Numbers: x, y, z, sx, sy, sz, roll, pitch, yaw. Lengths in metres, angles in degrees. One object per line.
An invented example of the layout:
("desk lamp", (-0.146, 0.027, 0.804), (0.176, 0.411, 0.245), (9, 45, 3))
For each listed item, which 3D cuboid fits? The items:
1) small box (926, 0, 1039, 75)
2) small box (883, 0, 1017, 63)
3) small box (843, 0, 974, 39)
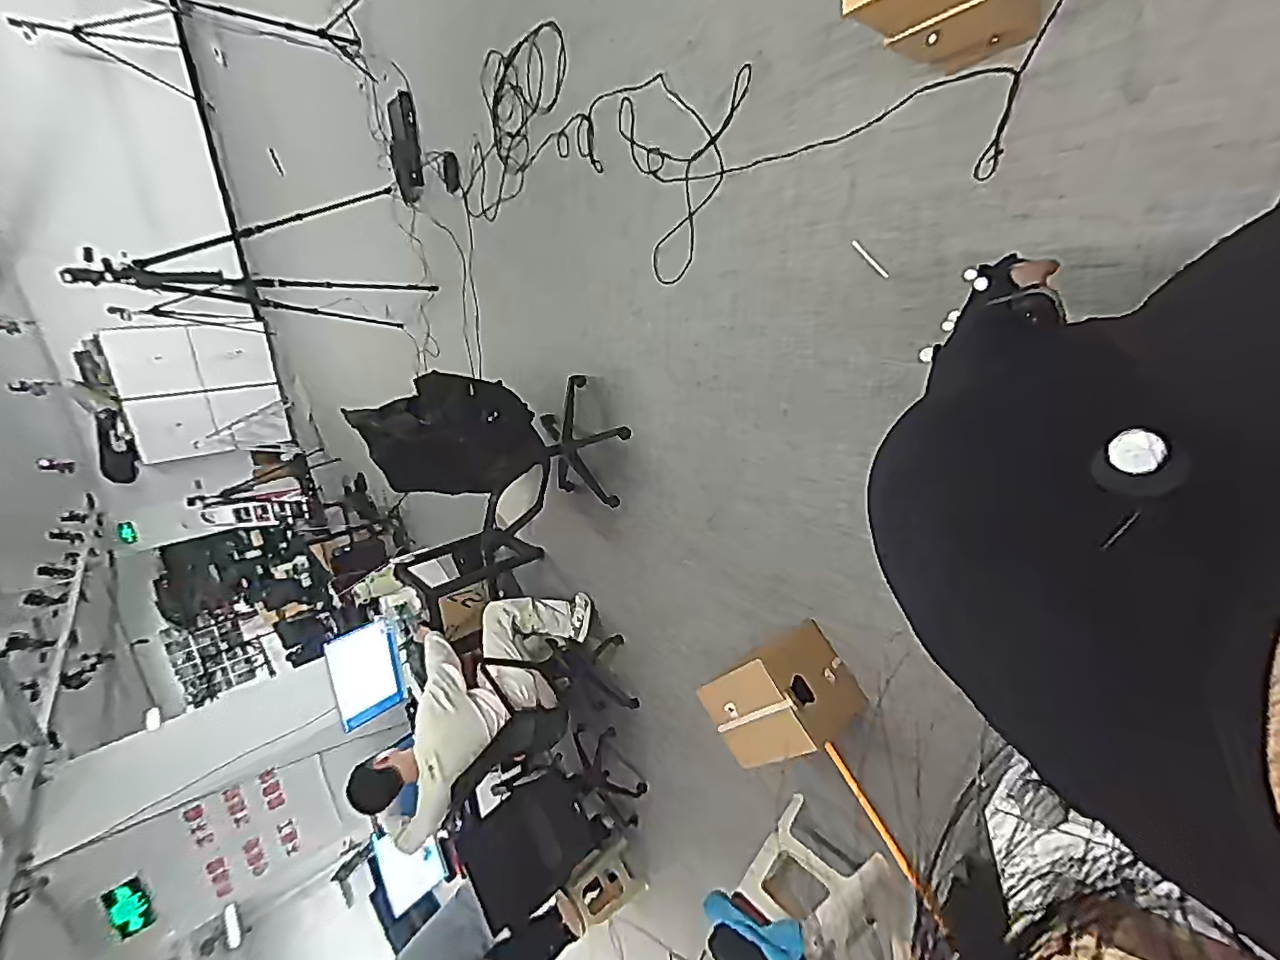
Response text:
("small box", (0.690, -0.967, 1.096), (0.179, 0.176, 0.168), (7, 109, 49))
("small box", (0.573, -0.909, 0.995), (0.179, 0.176, 0.168), (11, 113, 46))
("small box", (0.456, -0.874, 0.889), (0.179, 0.176, 0.168), (10, 111, 47))
